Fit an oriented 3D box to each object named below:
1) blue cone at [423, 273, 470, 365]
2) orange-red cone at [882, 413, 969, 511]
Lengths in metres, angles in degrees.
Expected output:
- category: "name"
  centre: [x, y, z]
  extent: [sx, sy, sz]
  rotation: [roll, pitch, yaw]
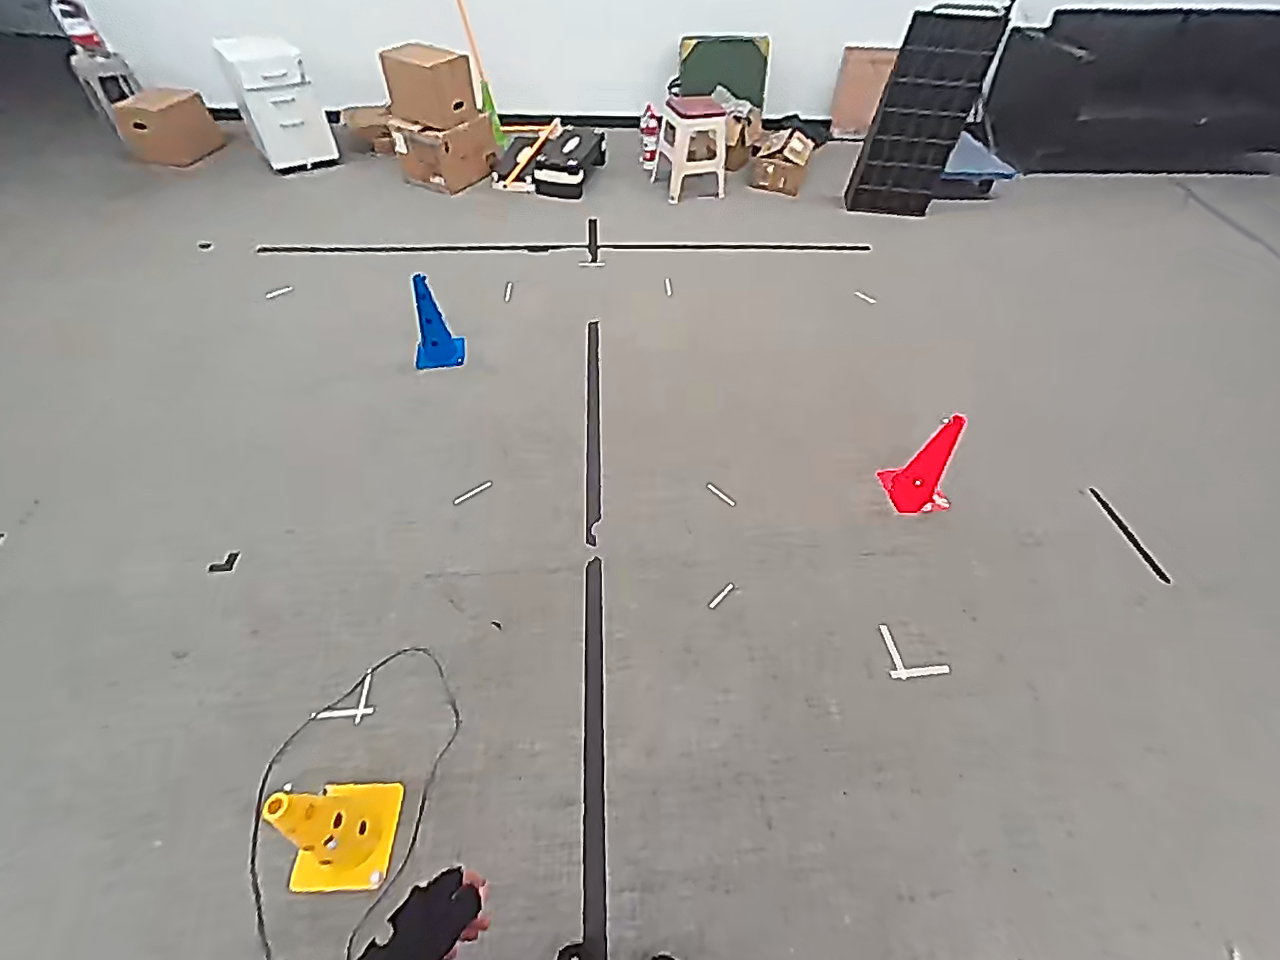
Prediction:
- category: "blue cone"
  centre: [-0.831, -0.665, 2.215]
  extent: [0.192, 0.380, 0.193]
  rotation: [-5, 50, -7]
- category: "orange-red cone"
  centre: [0.992, -0.082, 1.804]
  extent: [0.198, 0.360, 0.199]
  rotation: [-4, 49, -7]
